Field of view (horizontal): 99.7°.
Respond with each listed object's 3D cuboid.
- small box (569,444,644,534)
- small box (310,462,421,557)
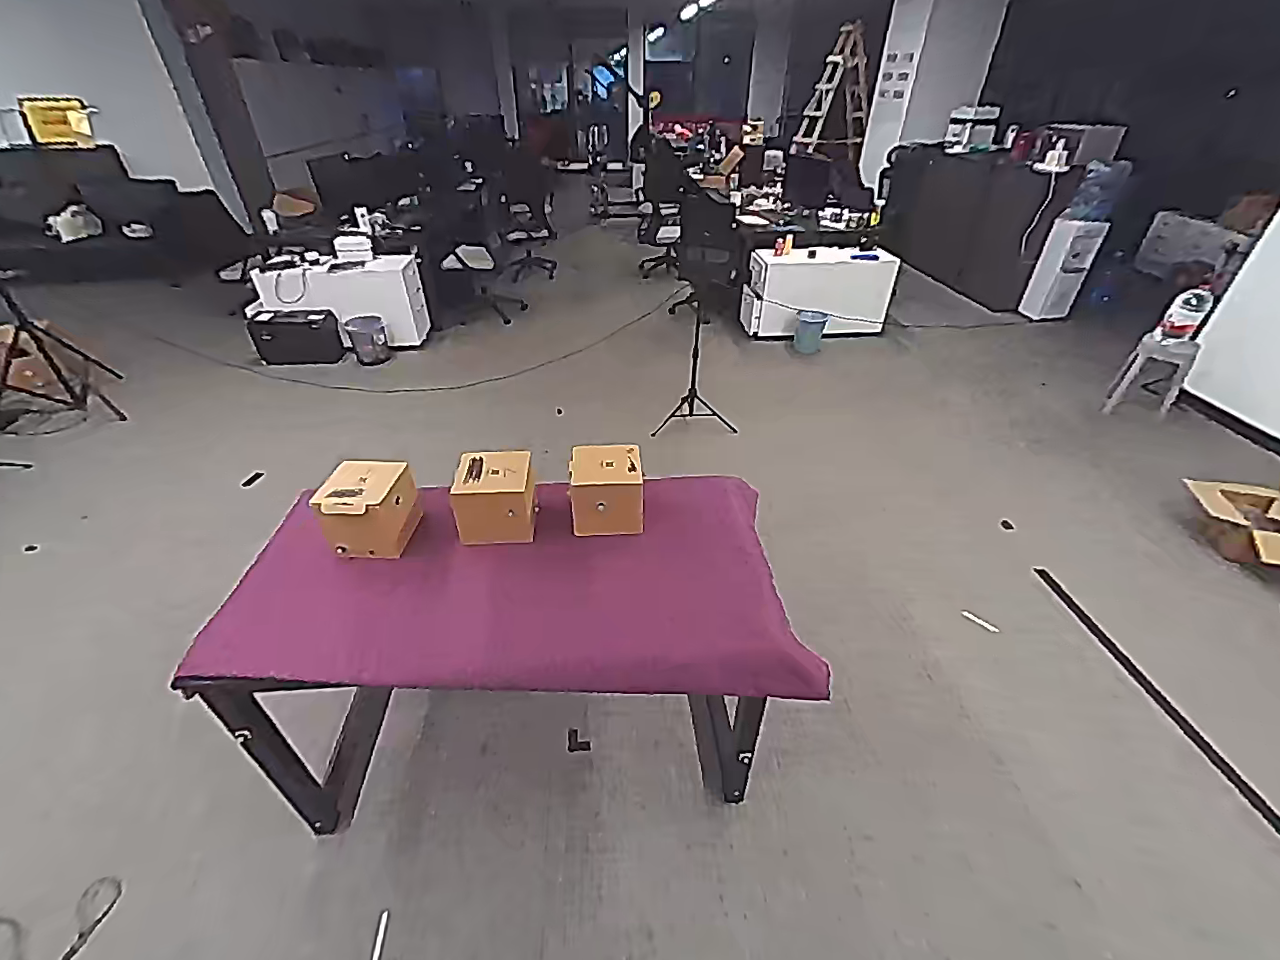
[{"bbox_3d":[-0.082,0.025,1.385,0.179,0.176,0.168,-3,39,-2],"label":"small box"},{"bbox_3d":[-0.656,0.072,1.321,0.168,0.176,0.179,1,36,1],"label":"small box"}]
